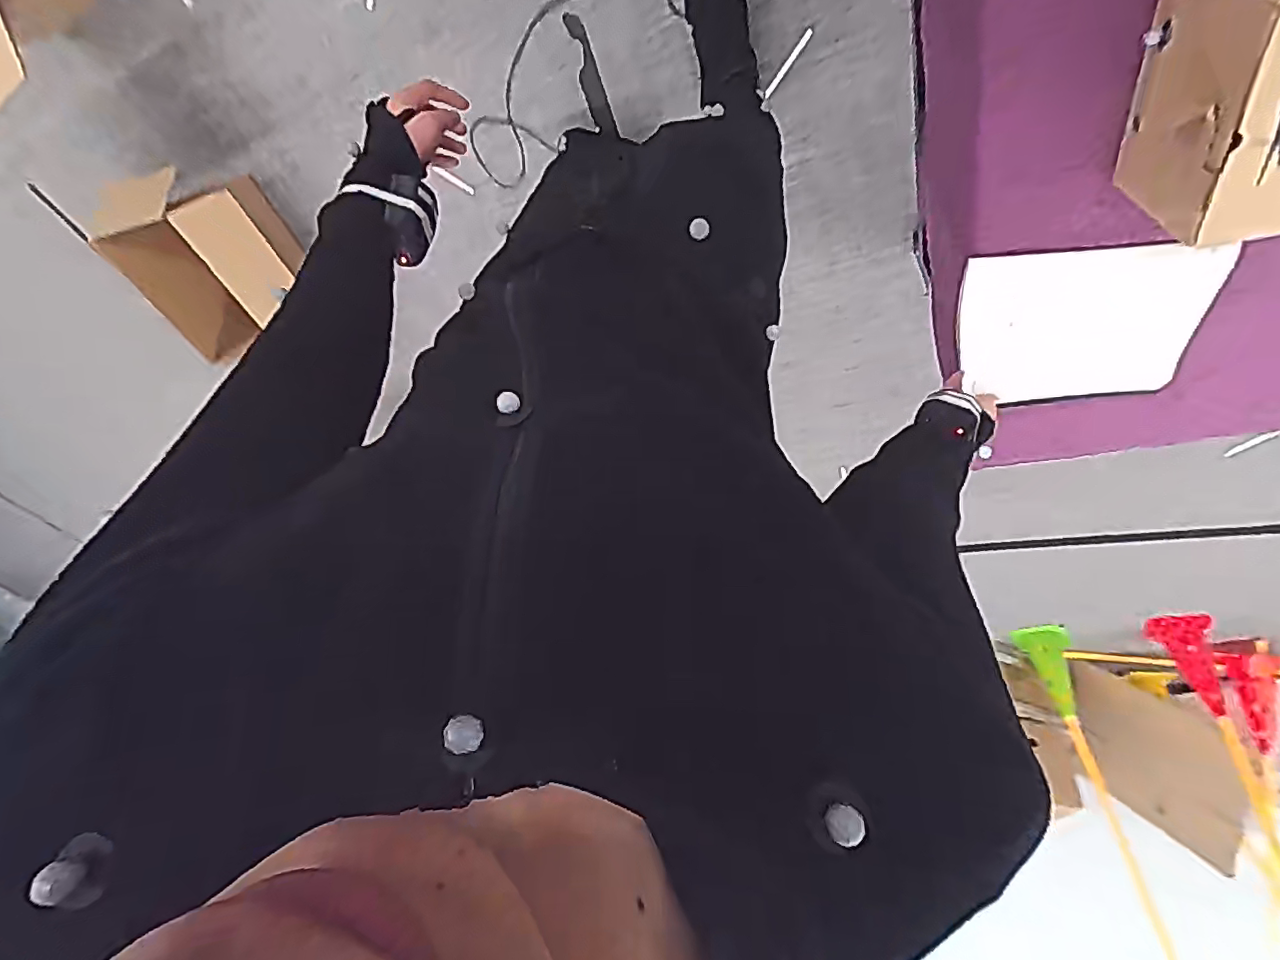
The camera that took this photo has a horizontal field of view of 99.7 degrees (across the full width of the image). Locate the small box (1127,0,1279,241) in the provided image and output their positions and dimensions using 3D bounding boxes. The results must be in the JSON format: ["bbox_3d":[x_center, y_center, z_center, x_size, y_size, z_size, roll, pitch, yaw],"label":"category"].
[{"bbox_3d":[0.538,-0.319,0.425,0.179,0.176,0.168,-5,135,20],"label":"small box"}]
